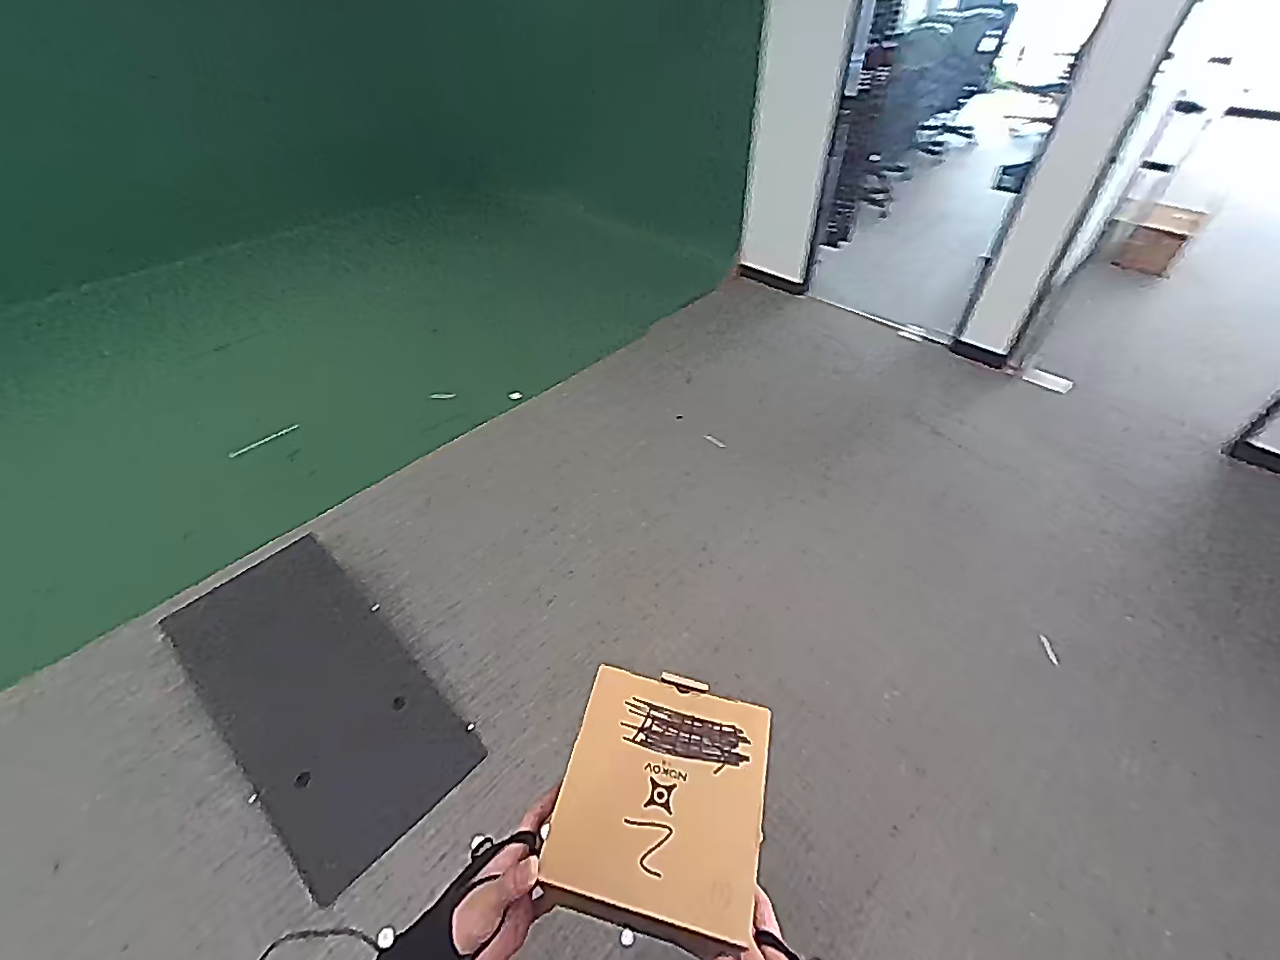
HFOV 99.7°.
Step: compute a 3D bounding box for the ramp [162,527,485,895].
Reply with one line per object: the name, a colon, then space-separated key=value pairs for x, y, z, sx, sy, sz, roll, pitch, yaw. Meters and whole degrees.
ramp: x=-0.954 y=0.591 z=1.611 sx=0.991 sy=0.206 sz=0.509 roll=33 pitch=54 yaw=28
